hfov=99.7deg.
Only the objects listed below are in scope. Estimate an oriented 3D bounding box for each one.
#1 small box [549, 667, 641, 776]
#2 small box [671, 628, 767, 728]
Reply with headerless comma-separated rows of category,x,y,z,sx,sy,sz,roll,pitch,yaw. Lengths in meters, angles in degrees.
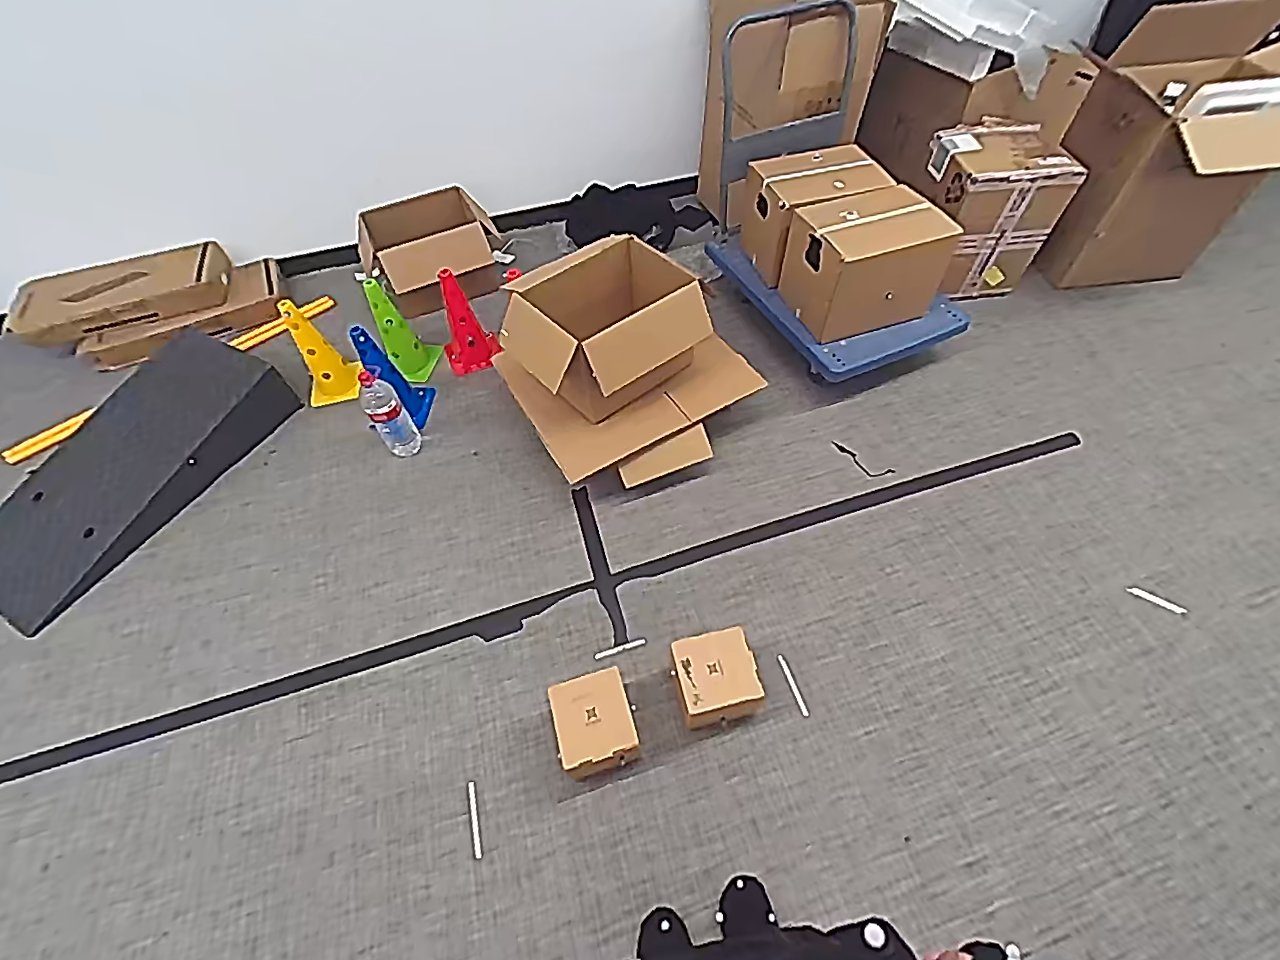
small box,-0.098,0.555,1.230,0.168,0.176,0.179,-15,55,-10
small box,0.177,0.471,1.279,0.179,0.176,0.168,-11,56,-6
